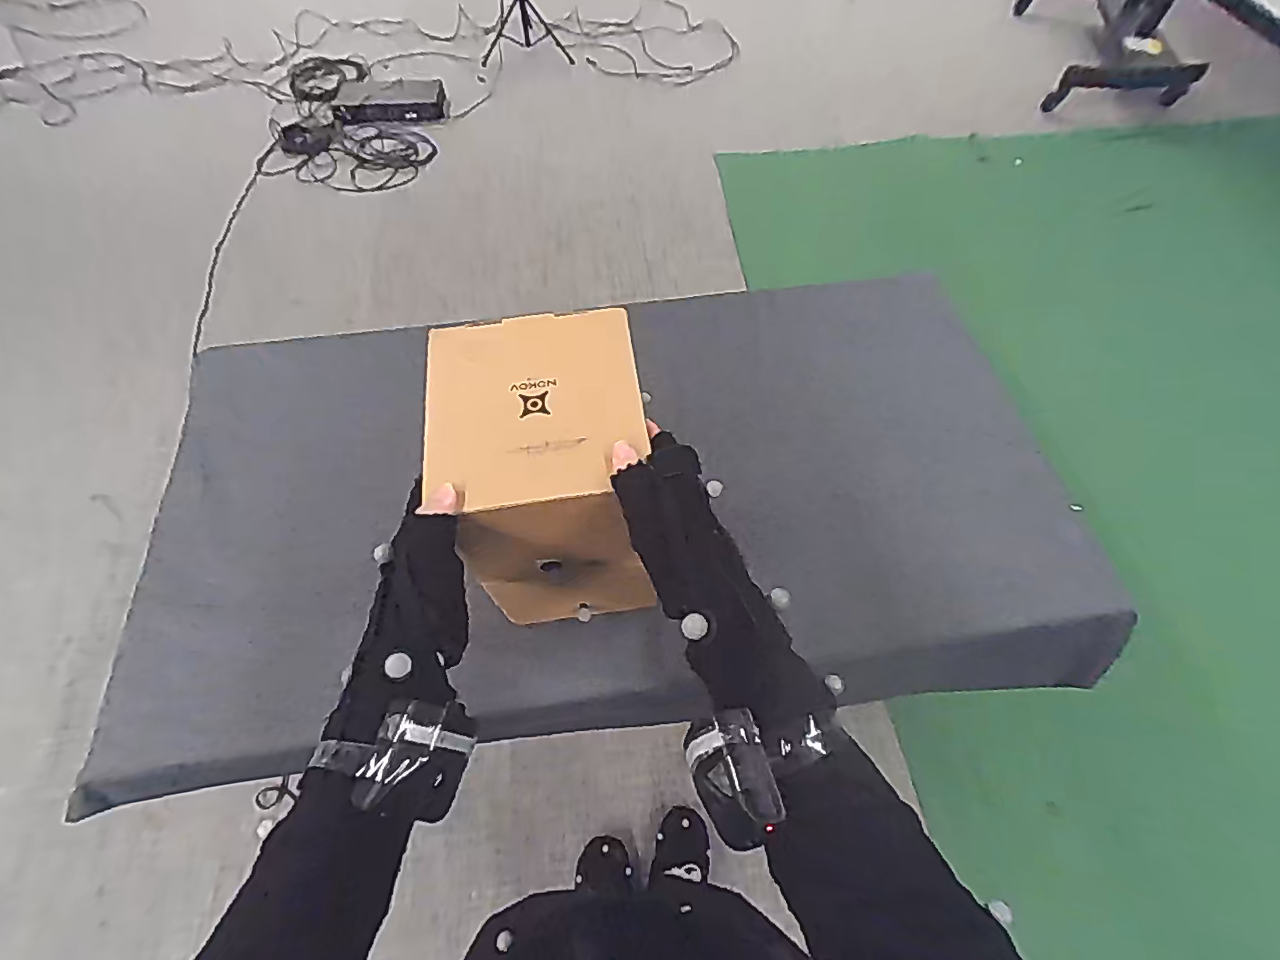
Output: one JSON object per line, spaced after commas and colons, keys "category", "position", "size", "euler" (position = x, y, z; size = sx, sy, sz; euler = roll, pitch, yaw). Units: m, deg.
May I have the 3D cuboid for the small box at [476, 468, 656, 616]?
{"category": "small box", "position": [-0.081, 0.050, 0.629], "size": [0.179, 0.176, 0.168], "euler": [-7, 62, -3]}

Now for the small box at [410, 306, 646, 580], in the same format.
{"category": "small box", "position": [-0.087, -0.026, 0.485], "size": [0.168, 0.176, 0.179], "euler": [-7, 63, -2]}
